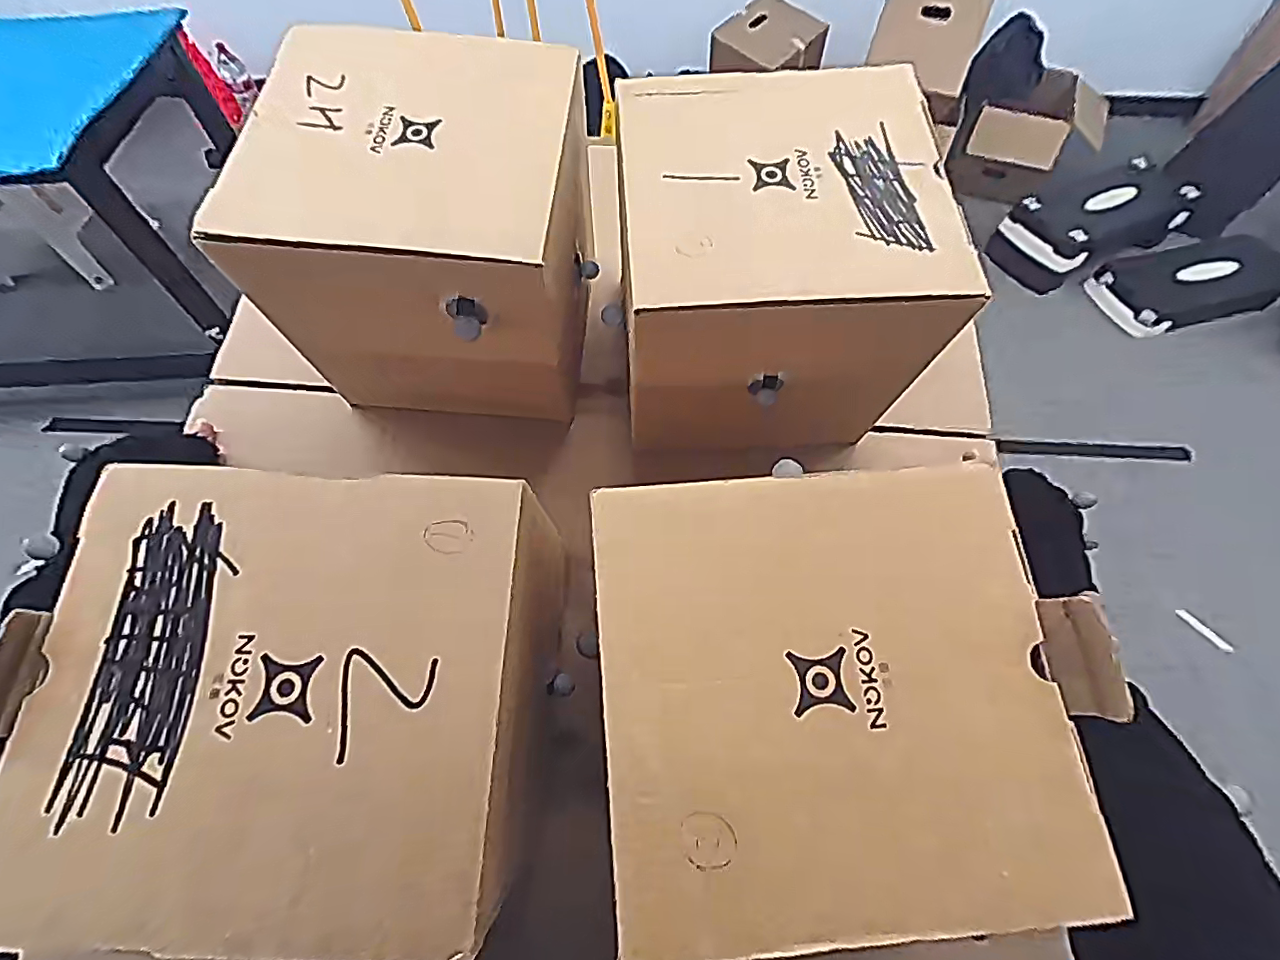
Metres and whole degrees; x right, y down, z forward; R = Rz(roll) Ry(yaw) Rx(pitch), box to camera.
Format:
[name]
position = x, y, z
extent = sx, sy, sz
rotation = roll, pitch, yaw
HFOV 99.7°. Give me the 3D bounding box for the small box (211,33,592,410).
[small box]
position = -0.131, -0.163, 0.381
extent = 0.179, 0.176, 0.168
rotation = 5, 68, 1
